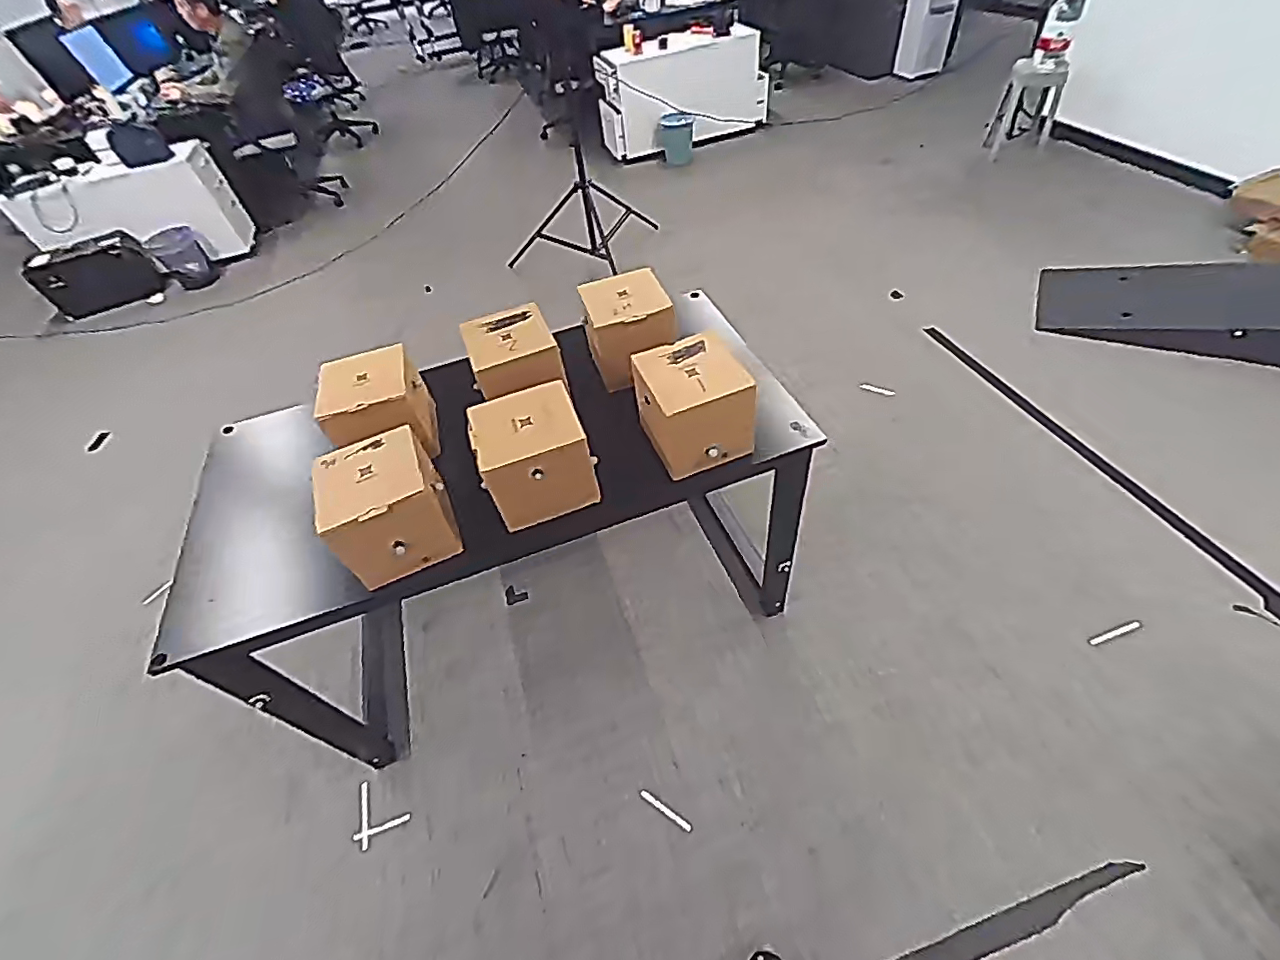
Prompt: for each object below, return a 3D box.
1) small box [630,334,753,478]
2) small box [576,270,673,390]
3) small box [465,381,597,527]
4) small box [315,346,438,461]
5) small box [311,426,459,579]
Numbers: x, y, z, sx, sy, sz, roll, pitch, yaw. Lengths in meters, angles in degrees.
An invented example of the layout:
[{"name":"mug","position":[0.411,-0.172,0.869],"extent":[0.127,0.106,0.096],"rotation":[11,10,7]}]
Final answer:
[{"name":"small box","position":[0.092,-0.136,1.000],"extent":[0.168,0.176,0.179],"rotation":[-20,50,-8]},{"name":"small box","position":[-0.031,-0.325,1.182],"extent":[0.168,0.176,0.179],"rotation":[-17,50,-6]},{"name":"small box","position":[-0.190,-0.042,0.965],"extent":[0.179,0.176,0.168],"rotation":[-19,50,-9]},{"name":"small box","position":[-0.525,-0.138,1.096],"extent":[0.168,0.176,0.179],"rotation":[-18,50,-7]},{"name":"small box","position":[-0.429,0.046,0.923],"extent":[0.168,0.176,0.179],"rotation":[-23,51,-12]}]
